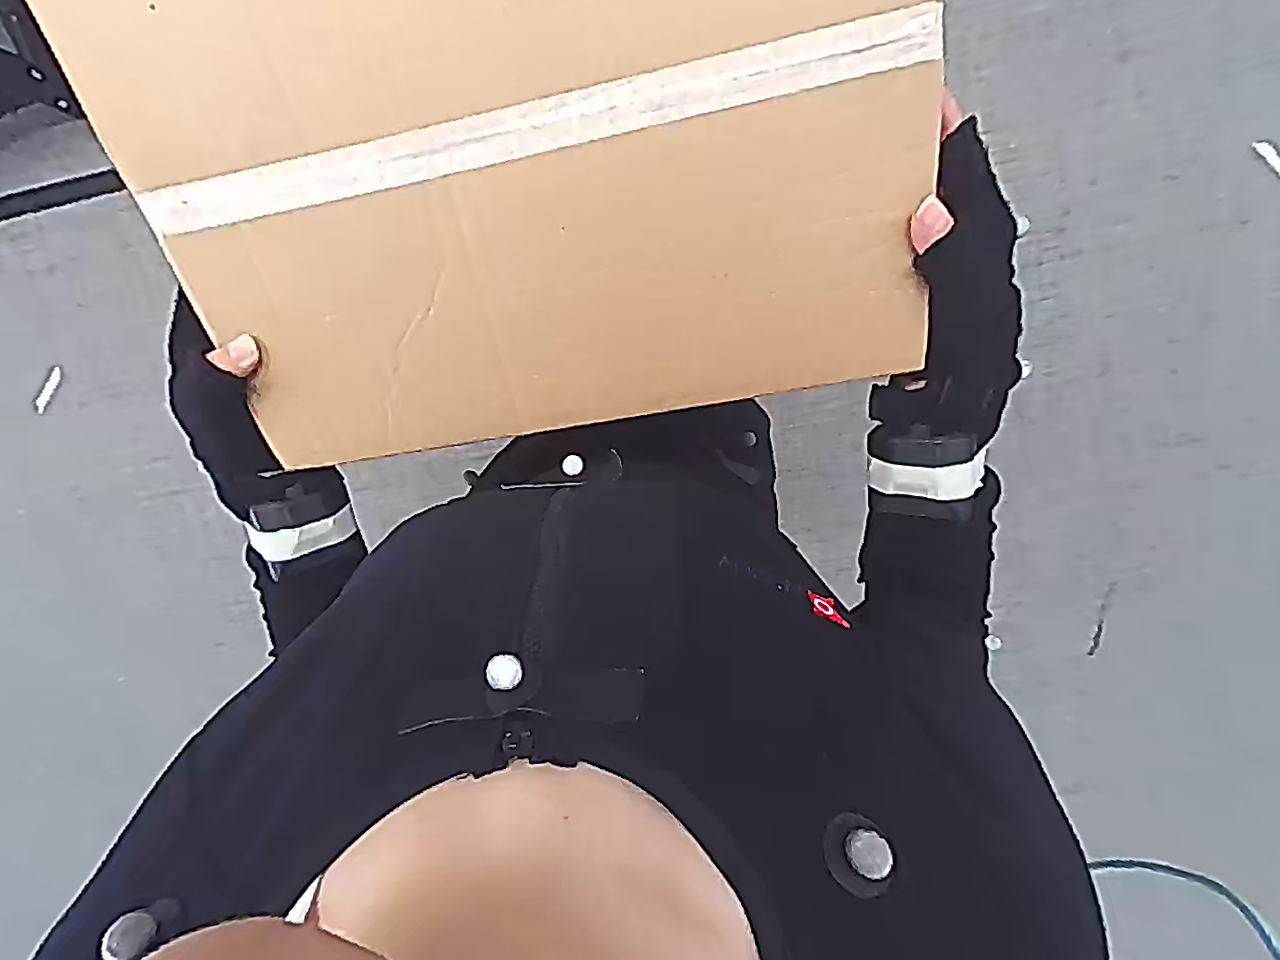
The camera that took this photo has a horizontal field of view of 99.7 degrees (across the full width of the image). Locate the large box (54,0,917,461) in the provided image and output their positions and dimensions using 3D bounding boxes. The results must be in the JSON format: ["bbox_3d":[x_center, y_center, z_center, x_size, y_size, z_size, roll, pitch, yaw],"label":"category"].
[{"bbox_3d":[-0.058,-0.245,0.407,0.408,0.320,0.320,-8,117,7],"label":"large box"}]
